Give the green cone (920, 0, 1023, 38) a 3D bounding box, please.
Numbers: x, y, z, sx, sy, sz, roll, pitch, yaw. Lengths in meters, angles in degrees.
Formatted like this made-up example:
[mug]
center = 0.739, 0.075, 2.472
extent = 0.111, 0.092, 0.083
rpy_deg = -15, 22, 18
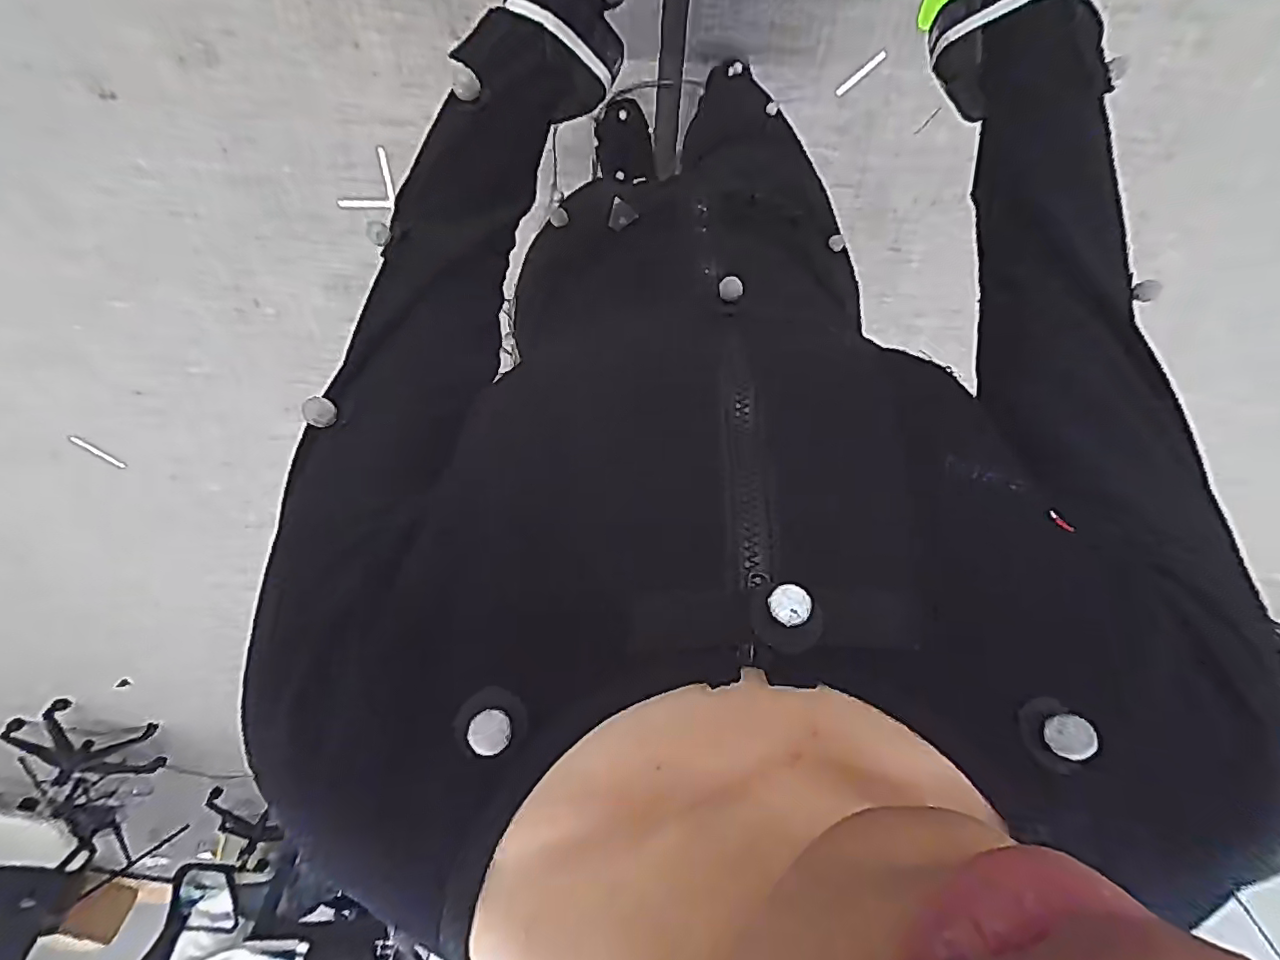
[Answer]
[green cone]
center = 0.653, -0.849, 0.867
extent = 0.202, 0.368, 0.200
rpy_deg = 3, 129, -7
